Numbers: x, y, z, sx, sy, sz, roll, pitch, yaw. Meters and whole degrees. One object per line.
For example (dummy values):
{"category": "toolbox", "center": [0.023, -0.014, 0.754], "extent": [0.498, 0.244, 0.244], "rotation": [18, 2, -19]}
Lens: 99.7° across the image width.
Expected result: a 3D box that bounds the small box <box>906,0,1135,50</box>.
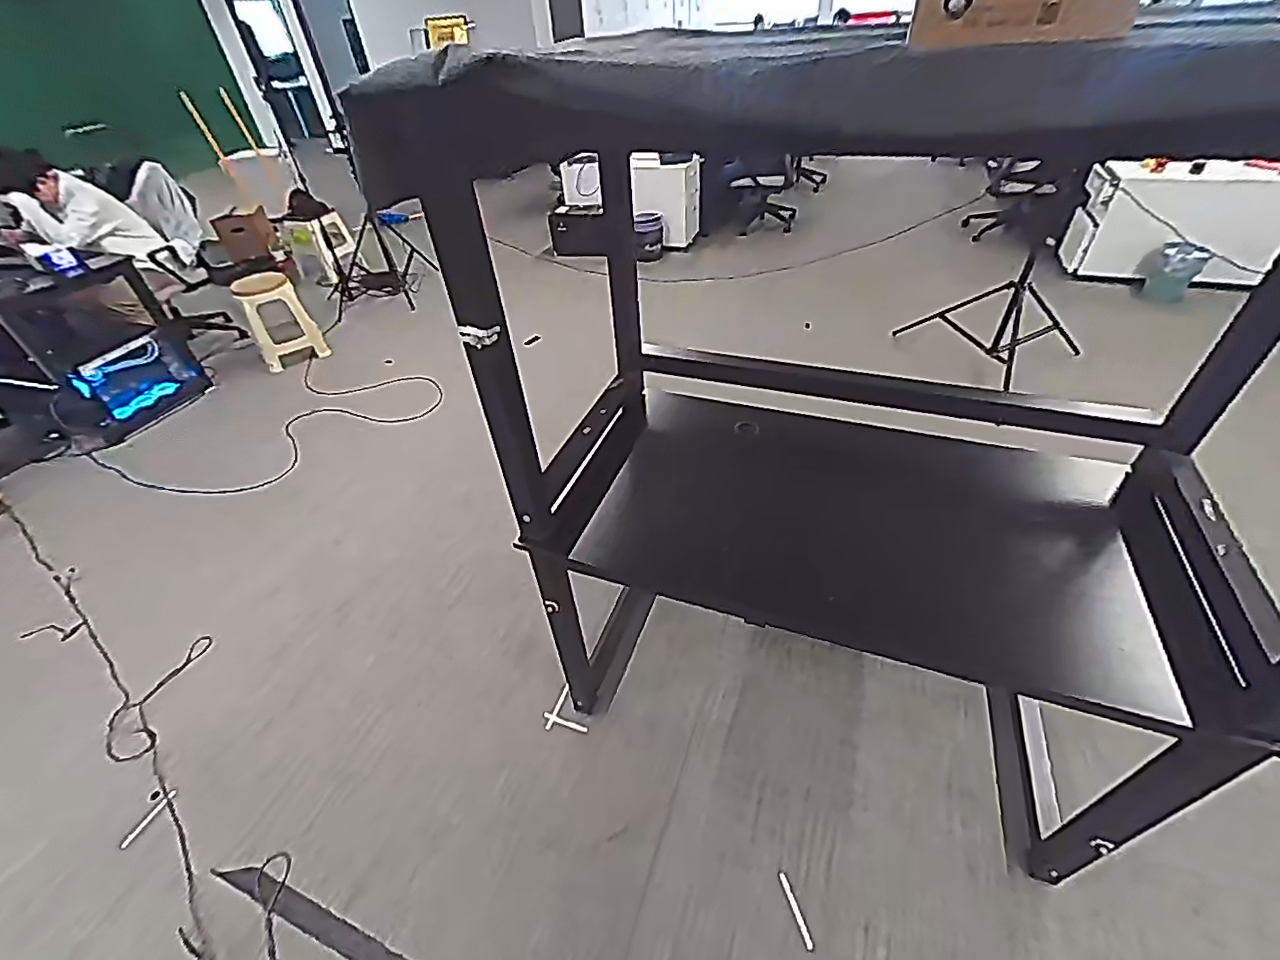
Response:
{"category": "small box", "center": [0.341, -0.486, 0.468], "extent": [0.168, 0.176, 0.179], "rotation": [12, 42, 17]}
